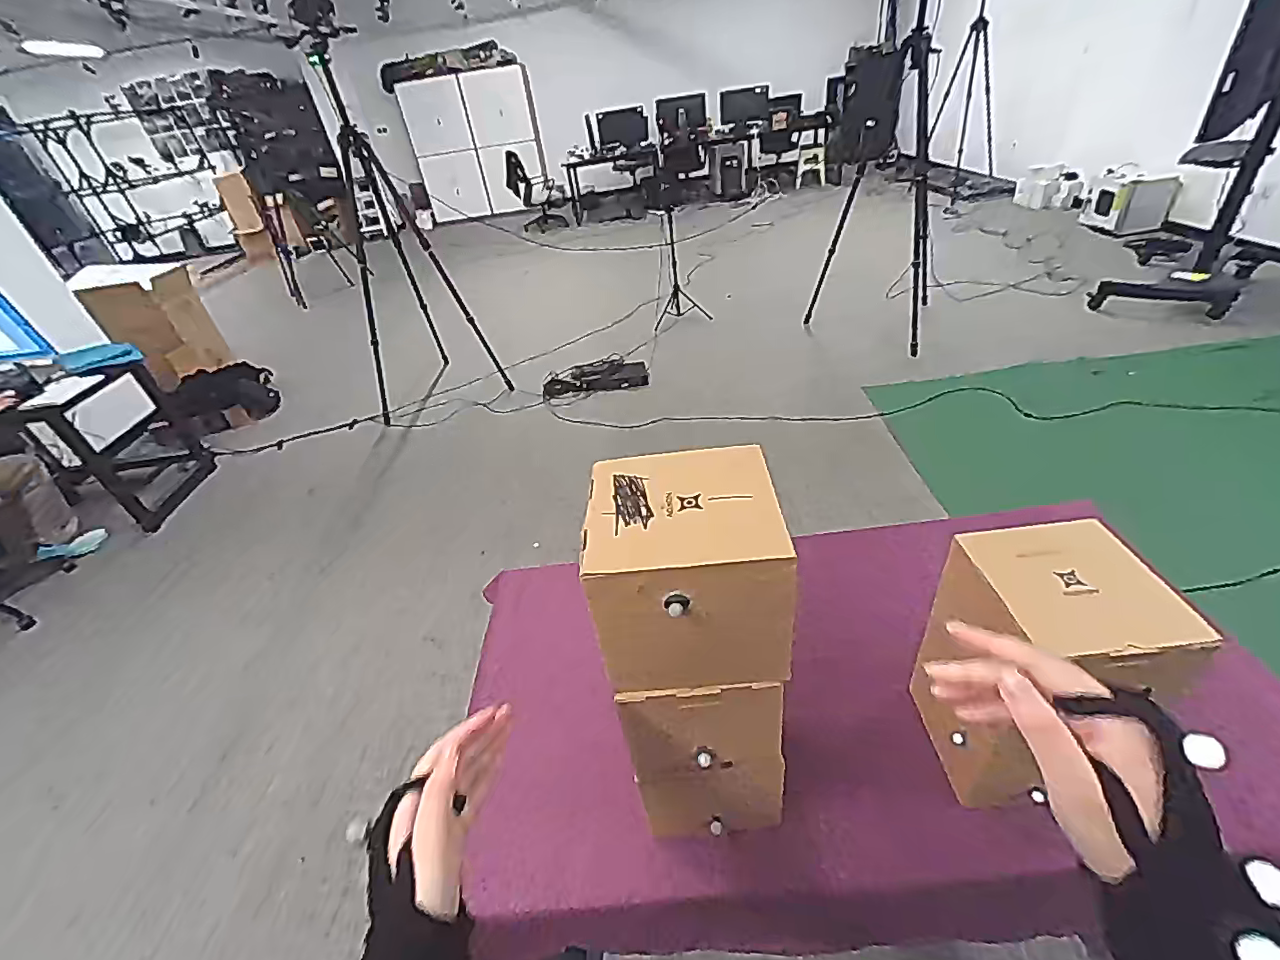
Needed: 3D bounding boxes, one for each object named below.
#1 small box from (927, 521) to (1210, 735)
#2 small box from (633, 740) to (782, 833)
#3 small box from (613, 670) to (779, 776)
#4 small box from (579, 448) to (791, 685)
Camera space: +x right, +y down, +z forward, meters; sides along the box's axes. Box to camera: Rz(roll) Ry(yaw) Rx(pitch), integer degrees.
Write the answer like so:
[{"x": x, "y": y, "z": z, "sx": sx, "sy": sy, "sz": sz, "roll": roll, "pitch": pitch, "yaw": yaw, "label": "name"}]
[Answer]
[{"x": 0.461, "y": 0.173, "z": 0.621, "sx": 0.168, "sy": 0.176, "sz": 0.179, "roll": -7, "pitch": 37, "yaw": 3, "label": "small box"}, {"x": 0.083, "y": 0.353, "z": 0.737, "sx": 0.179, "sy": 0.176, "sz": 0.168, "roll": -7, "pitch": 36, "yaw": 1, "label": "small box"}, {"x": 0.063, "y": 0.220, "z": 0.642, "sx": 0.168, "sy": 0.176, "sz": 0.179, "roll": -7, "pitch": 37, "yaw": 3, "label": "small box"}, {"x": 0.046, "y": 0.088, "z": 0.544, "sx": 0.179, "sy": 0.176, "sz": 0.168, "roll": -5, "pitch": 37, "yaw": 4, "label": "small box"}]
